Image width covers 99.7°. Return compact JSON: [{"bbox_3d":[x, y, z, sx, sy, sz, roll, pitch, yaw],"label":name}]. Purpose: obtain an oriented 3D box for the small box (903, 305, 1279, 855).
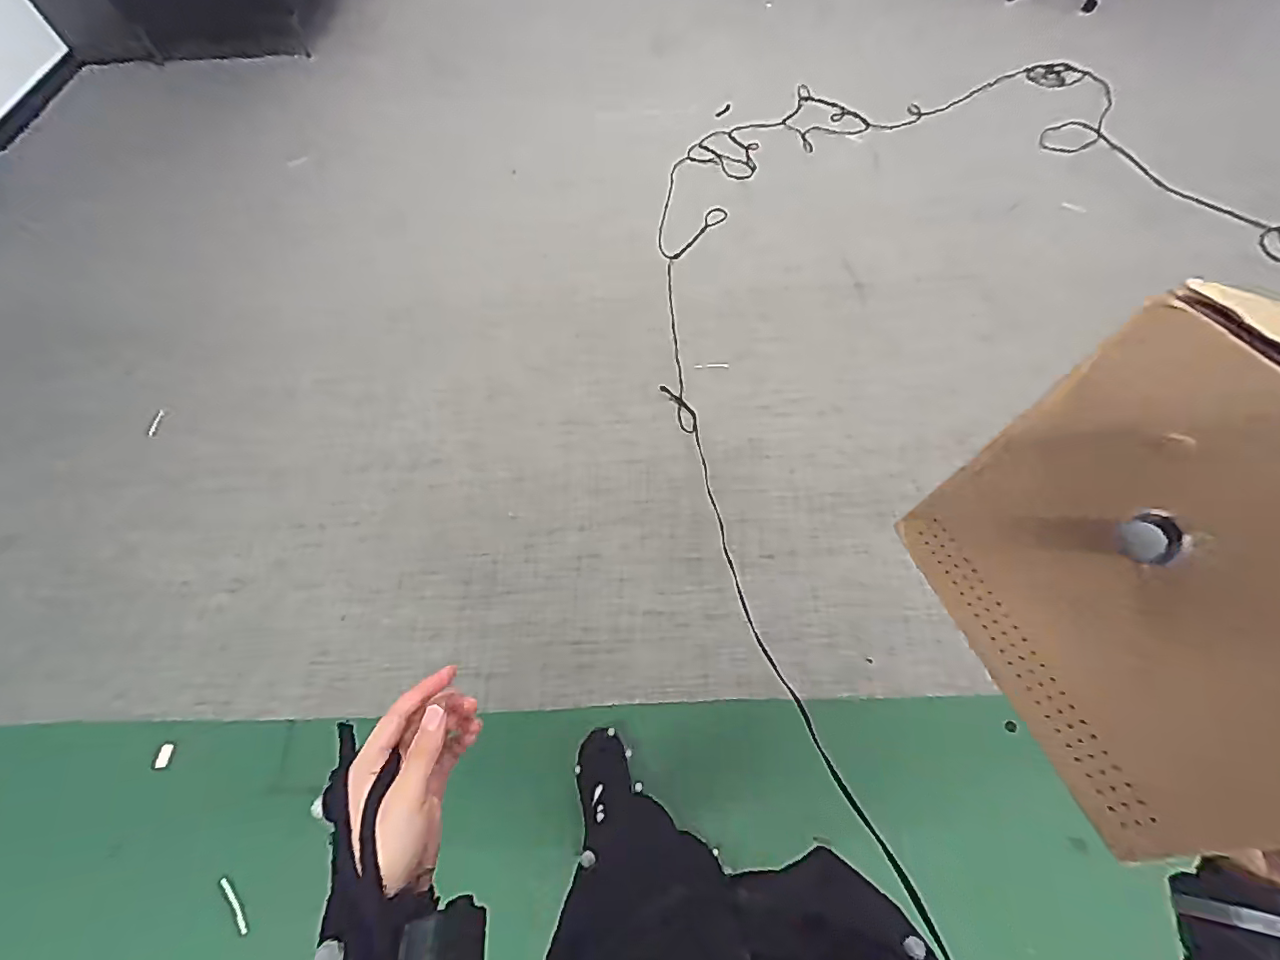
[{"bbox_3d":[0.272,0.043,0.257,0.168,0.176,0.179,-5,53,-25],"label":"small box"}]
